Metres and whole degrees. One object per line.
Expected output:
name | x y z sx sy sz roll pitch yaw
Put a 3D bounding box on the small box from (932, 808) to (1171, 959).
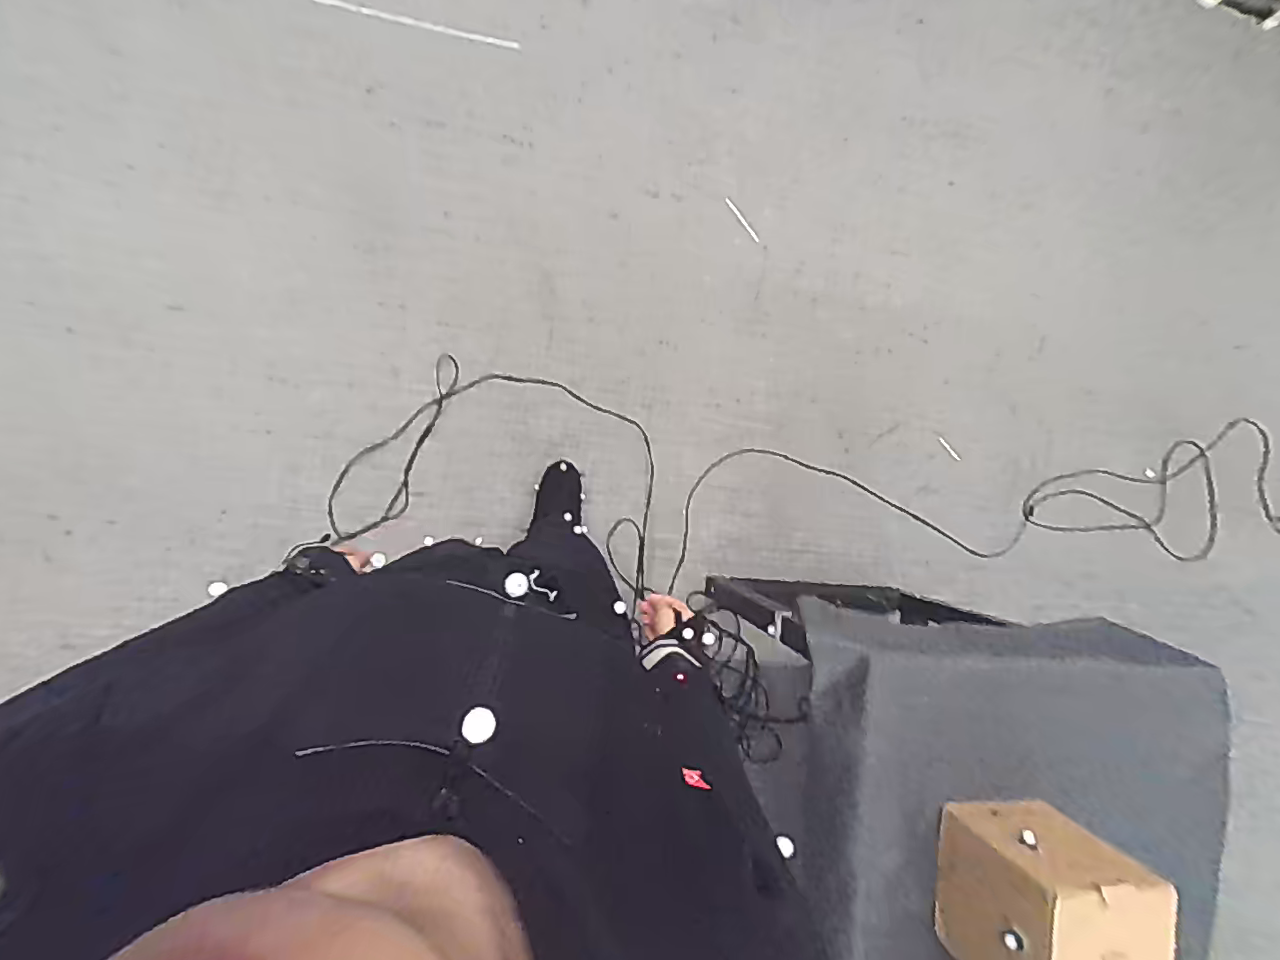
small box | 0.491 0.533 0.666 0.168 0.176 0.179 5 90 -10
